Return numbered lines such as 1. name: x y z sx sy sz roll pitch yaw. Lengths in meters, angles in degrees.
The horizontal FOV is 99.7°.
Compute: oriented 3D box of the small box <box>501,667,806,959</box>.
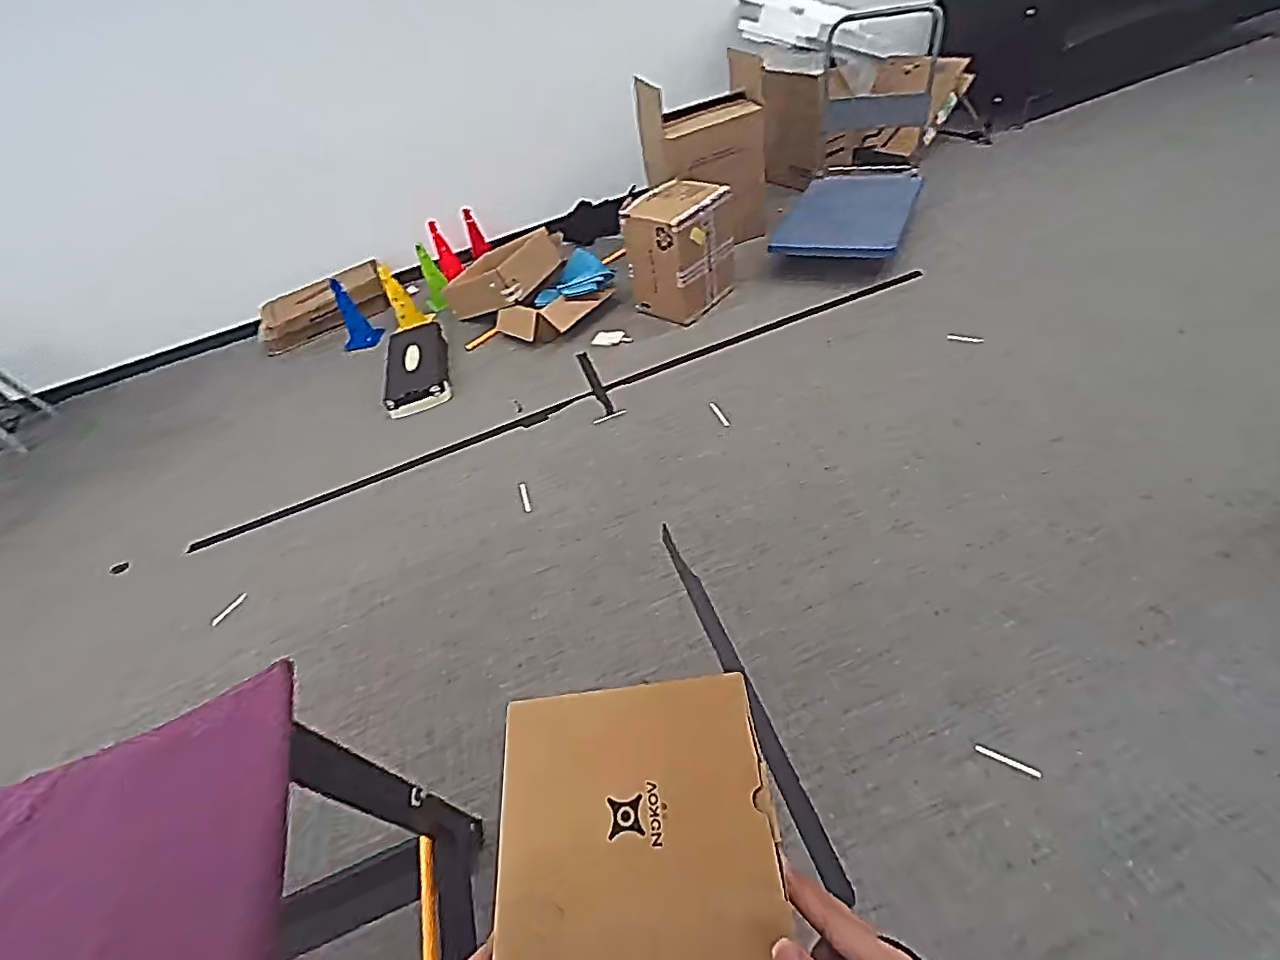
1. small box: 0.011 0.261 0.409 0.179 0.176 0.168 -8 50 2
